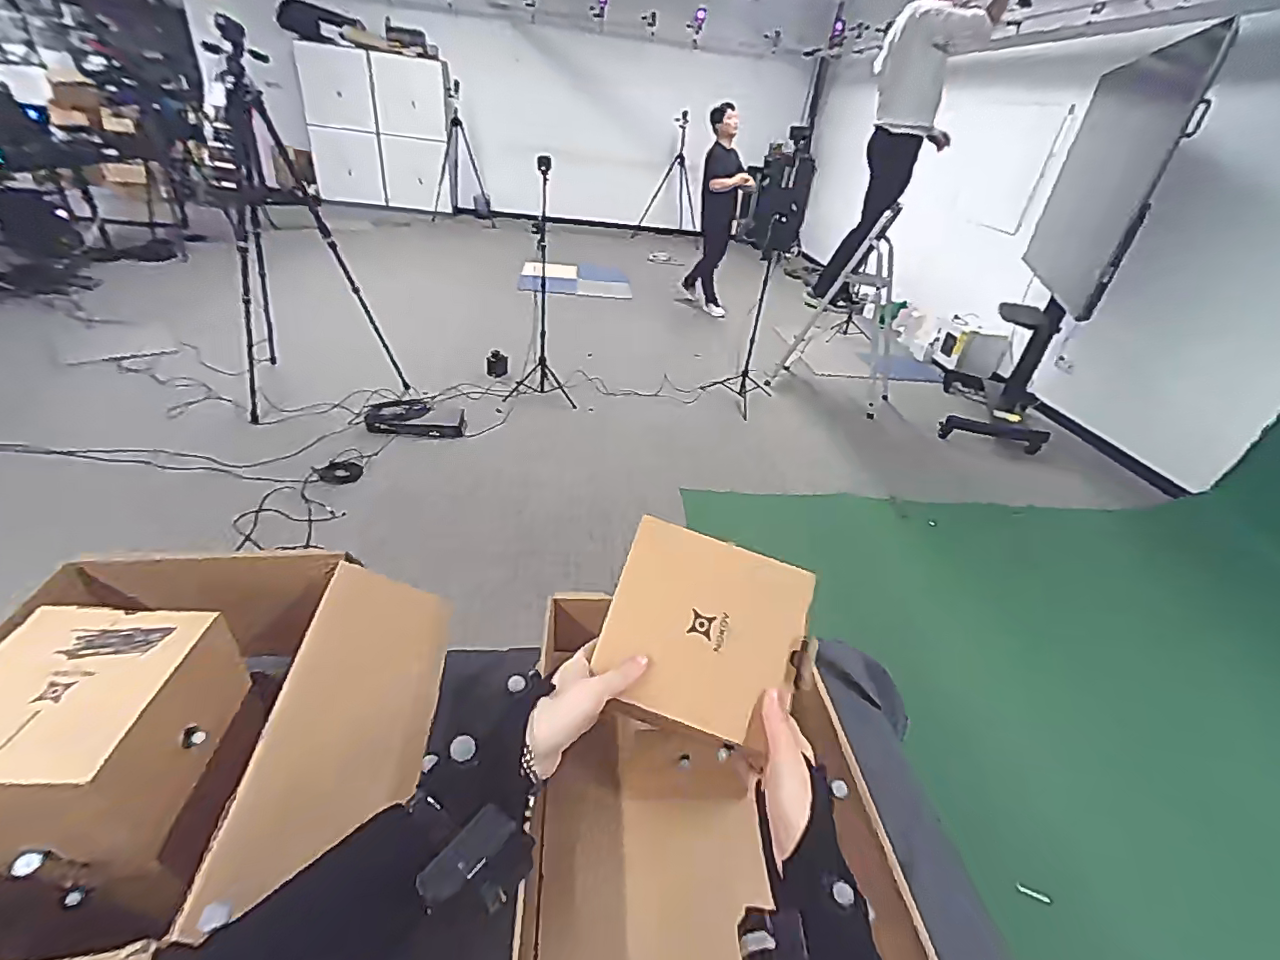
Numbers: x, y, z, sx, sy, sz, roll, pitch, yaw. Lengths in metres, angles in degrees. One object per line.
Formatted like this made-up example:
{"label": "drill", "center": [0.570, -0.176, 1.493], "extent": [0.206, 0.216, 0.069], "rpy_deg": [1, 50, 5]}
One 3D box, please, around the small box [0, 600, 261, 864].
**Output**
{"label": "small box", "center": [-0.510, 0.243, 0.531], "extent": [0.168, 0.176, 0.179], "rpy_deg": [4, 36, -6]}

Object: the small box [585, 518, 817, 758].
{"label": "small box", "center": [0.052, 0.165, 0.552], "extent": [0.179, 0.176, 0.168], "rpy_deg": [20, 66, 2]}
